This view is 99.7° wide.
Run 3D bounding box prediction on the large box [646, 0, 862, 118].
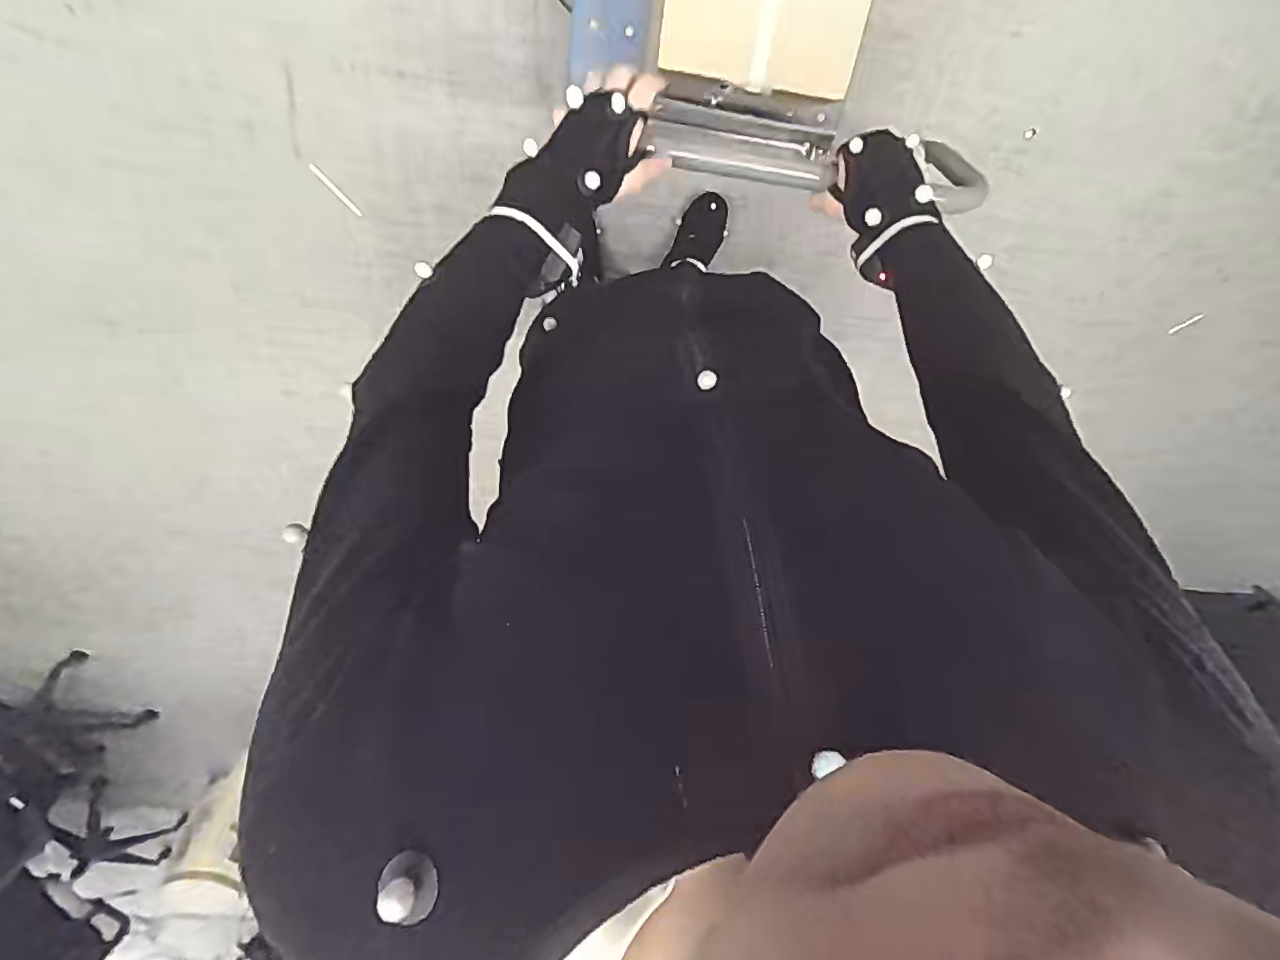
[{"bbox_3d":[0.189,-0.876,0.910,0.320,0.320,0.408,4,119,-7],"label":"large box"}]
